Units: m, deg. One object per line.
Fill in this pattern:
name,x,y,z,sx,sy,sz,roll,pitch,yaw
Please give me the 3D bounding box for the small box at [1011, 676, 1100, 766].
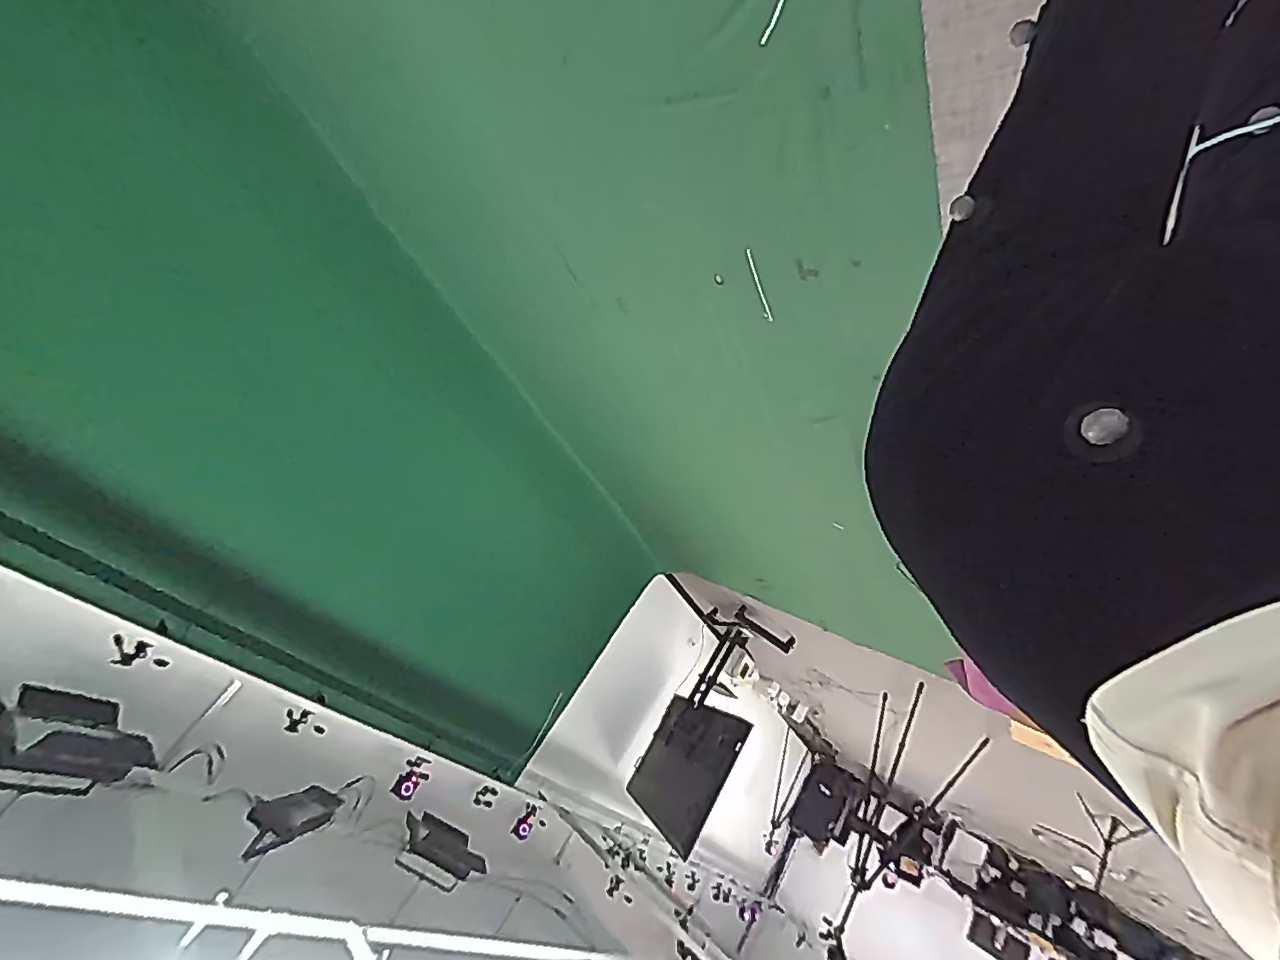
small box,1.242,0.713,1.622,0.179,0.176,0.168,14,150,43
